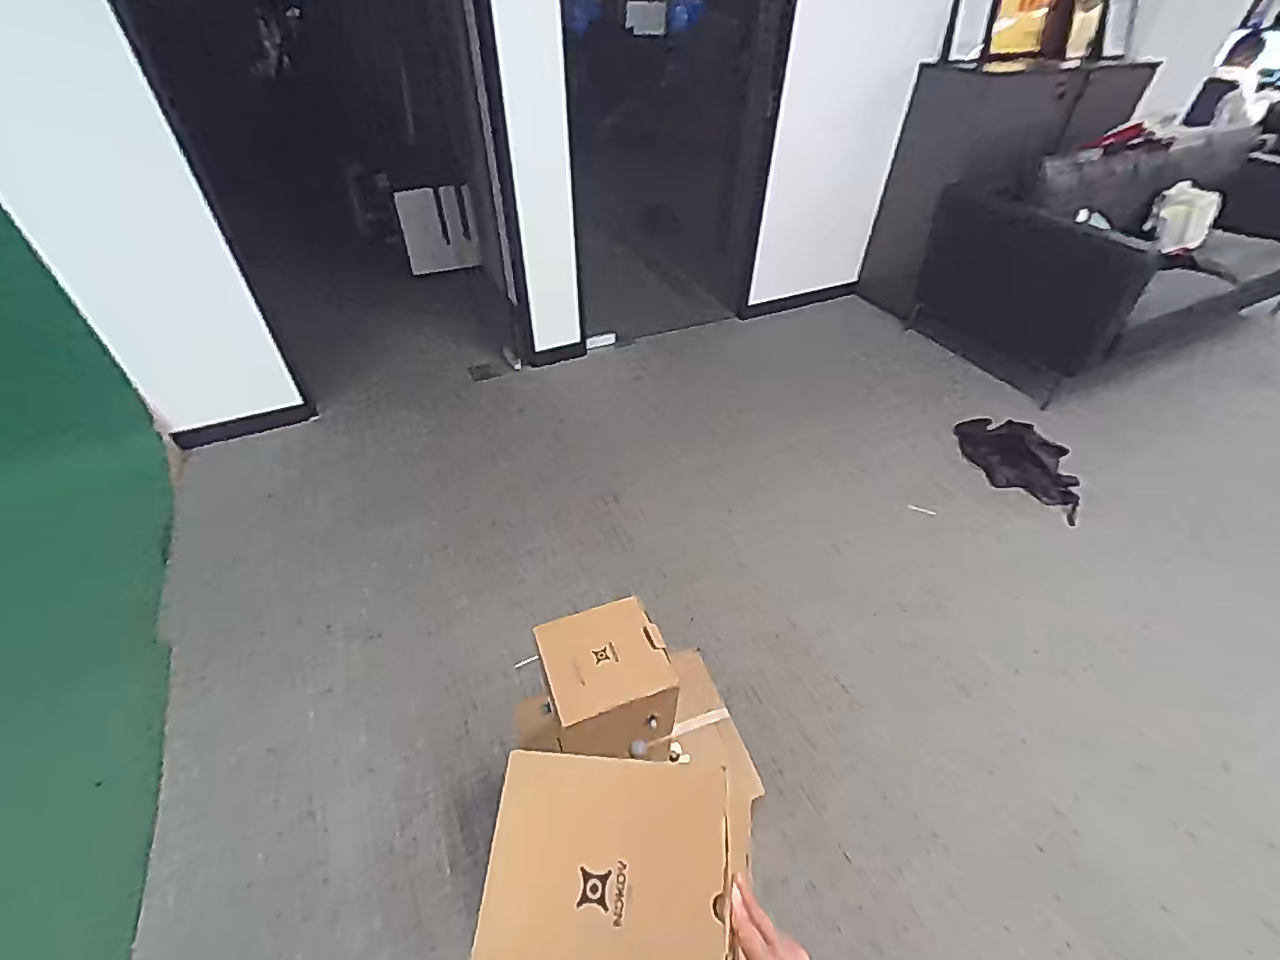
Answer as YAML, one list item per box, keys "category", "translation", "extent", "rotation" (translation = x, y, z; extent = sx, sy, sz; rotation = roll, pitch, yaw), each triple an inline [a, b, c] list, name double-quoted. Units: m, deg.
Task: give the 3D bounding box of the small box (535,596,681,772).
- category: "small box"
  translation: [-0.052, 0.316, 0.841]
  extent: [0.179, 0.176, 0.168]
  rotation: [-15, 44, -17]

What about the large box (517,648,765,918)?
- category: "large box"
  translation: [-0.014, 0.615, 1.119]
  extent: [0.408, 0.320, 0.320]
  rotation: [-12, 45, -16]
